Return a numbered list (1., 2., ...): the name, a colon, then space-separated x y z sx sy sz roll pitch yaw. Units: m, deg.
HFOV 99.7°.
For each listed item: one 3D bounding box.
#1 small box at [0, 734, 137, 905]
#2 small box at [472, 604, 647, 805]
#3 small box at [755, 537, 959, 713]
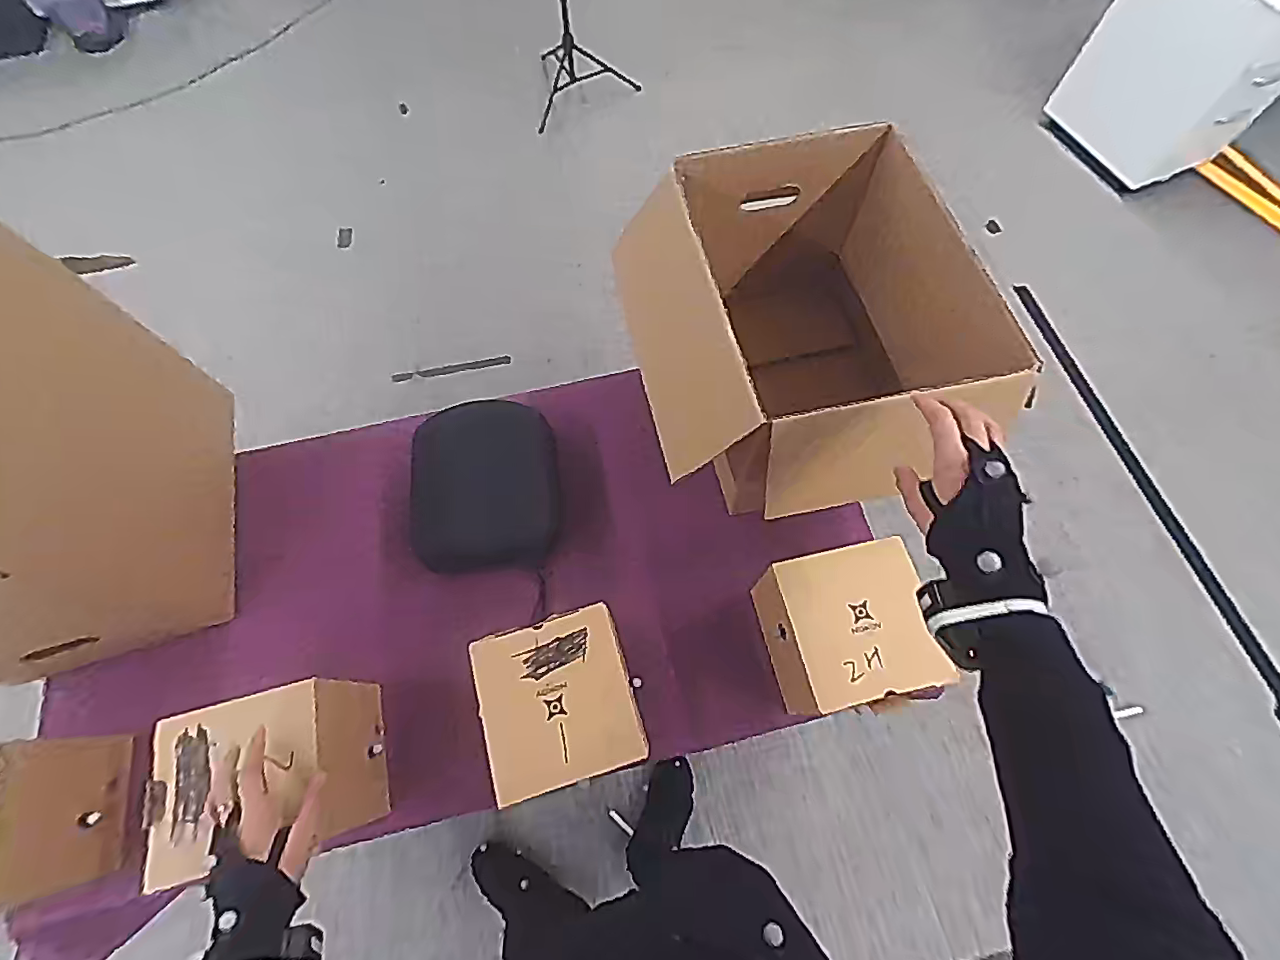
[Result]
1. small box: -0.762 0.408 0.635 0.179 0.176 0.168 -13 67 -5
2. small box: -0.093 0.274 0.674 0.168 0.176 0.179 -16 69 -5
3. small box: 0.258 0.193 0.696 0.168 0.176 0.179 -12 67 -2
